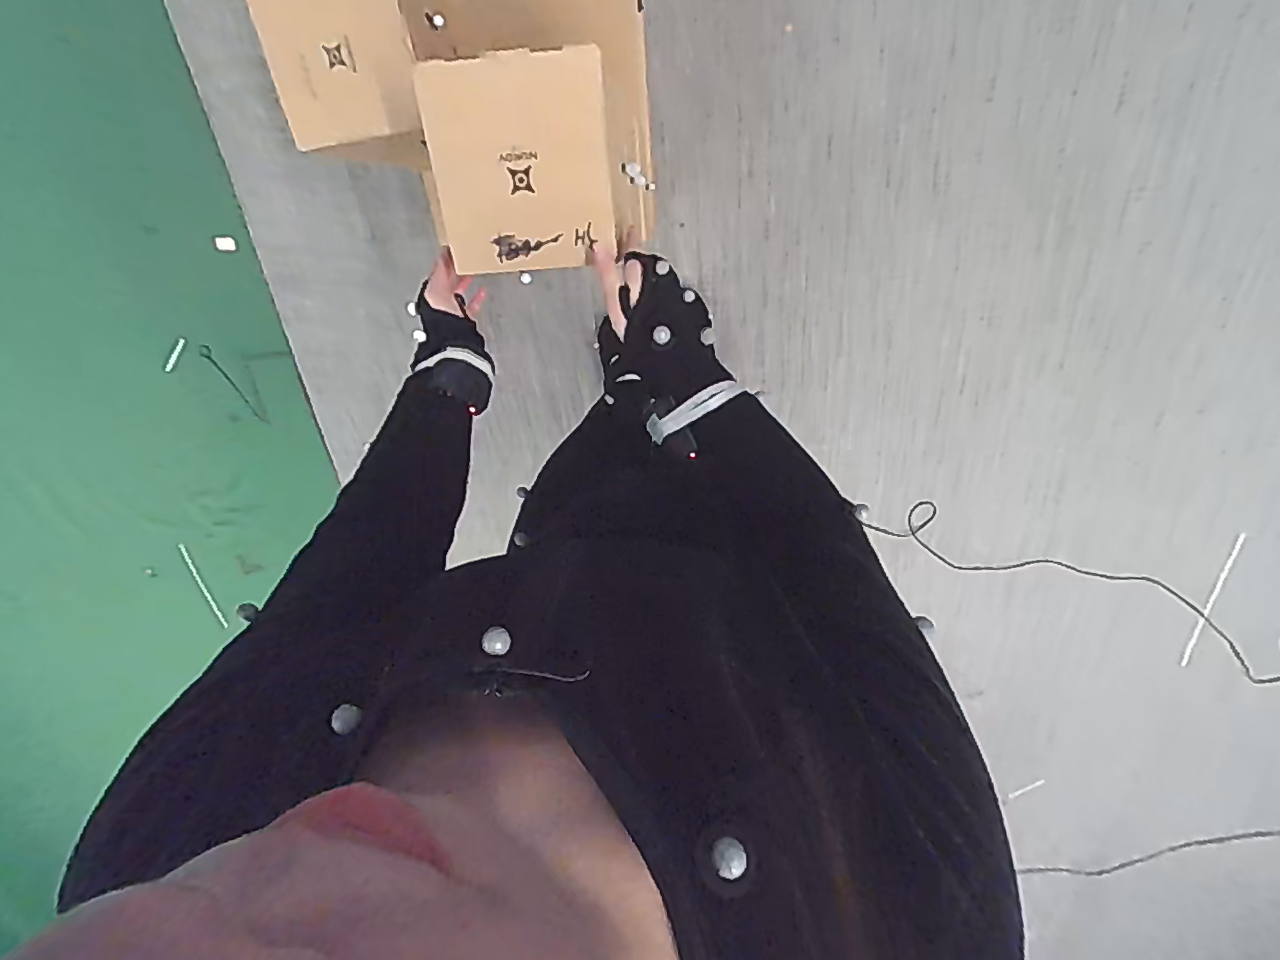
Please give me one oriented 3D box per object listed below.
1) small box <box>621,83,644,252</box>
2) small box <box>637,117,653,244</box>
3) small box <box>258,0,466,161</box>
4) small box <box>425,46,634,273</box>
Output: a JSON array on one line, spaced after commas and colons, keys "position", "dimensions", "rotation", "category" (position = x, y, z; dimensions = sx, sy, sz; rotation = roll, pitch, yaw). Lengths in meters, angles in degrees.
[{"position": [-0.084, -0.396, 0.714], "dimensions": [0.168, 0.176, 0.179], "rotation": [-1, 117, 5], "category": "small box"}, {"position": [-0.069, -0.465, 0.861], "dimensions": [0.179, 0.176, 0.168], "rotation": [-1, 116, 6], "category": "small box"}, {"position": [-0.321, -0.514, 0.682], "dimensions": [0.179, 0.176, 0.168], "rotation": [-3, 114, 9], "category": "small box"}, {"position": [-0.097, -0.321, 0.569], "dimensions": [0.168, 0.176, 0.179], "rotation": [-1, 117, 5], "category": "small box"}]
